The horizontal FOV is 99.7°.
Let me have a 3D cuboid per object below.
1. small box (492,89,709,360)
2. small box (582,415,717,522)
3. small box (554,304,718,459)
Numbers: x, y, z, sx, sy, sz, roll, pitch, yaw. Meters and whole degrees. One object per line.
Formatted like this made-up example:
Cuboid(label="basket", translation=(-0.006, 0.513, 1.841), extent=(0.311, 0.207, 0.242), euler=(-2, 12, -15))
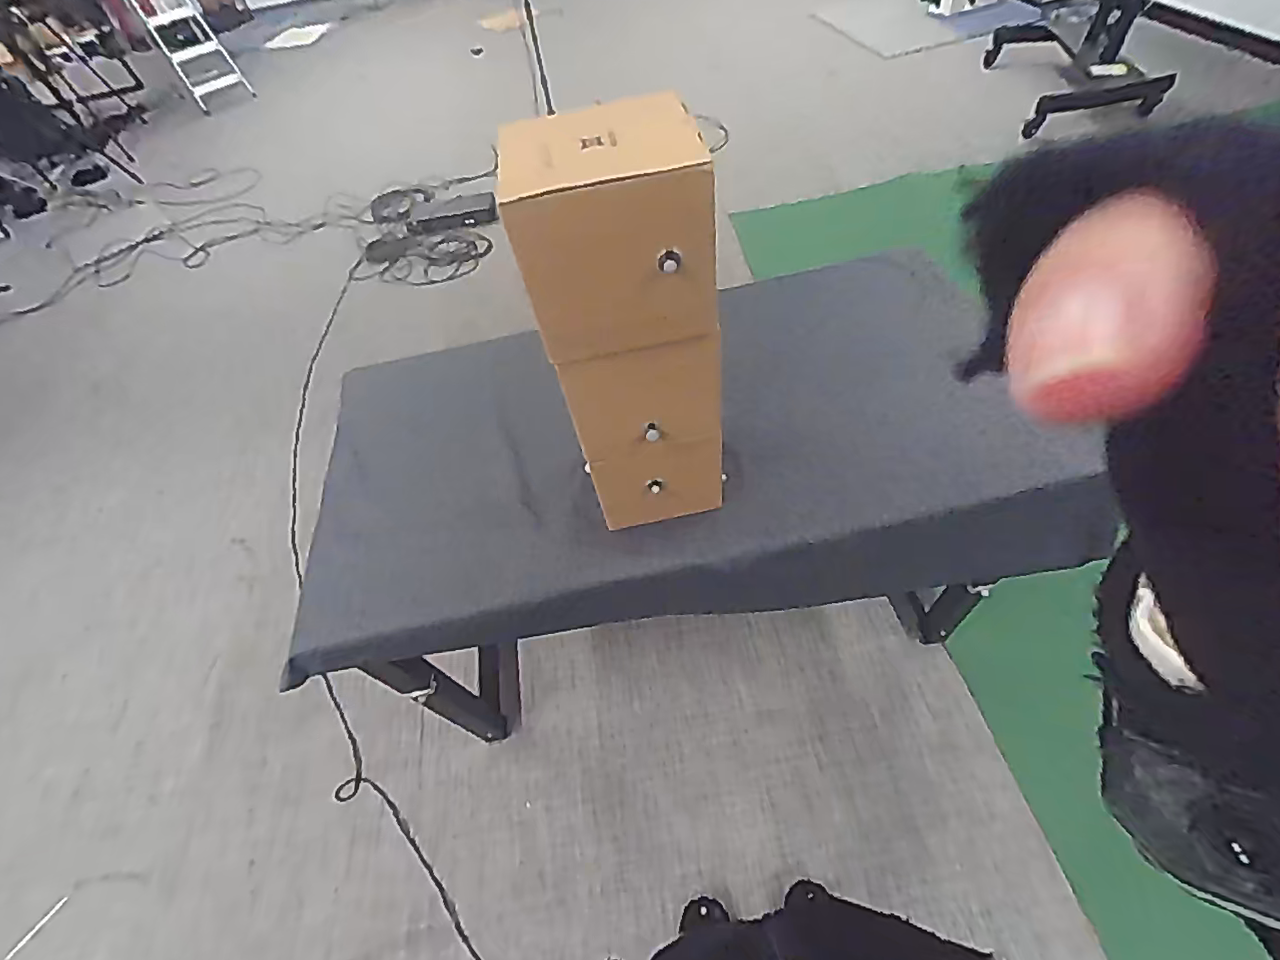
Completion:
Cuboid(label="small box", translation=(-0.032, -0.245, 0.533), extent=(0.179, 0.176, 0.168), euler=(-12, 52, 2))
Cuboid(label="small box", translation=(0.010, -0.060, 0.798), extent=(0.179, 0.176, 0.168), euler=(-13, 53, 0))
Cuboid(label="small box", translation=(-0.010, -0.151, 0.668), extent=(0.179, 0.176, 0.168), euler=(-14, 55, -1))
